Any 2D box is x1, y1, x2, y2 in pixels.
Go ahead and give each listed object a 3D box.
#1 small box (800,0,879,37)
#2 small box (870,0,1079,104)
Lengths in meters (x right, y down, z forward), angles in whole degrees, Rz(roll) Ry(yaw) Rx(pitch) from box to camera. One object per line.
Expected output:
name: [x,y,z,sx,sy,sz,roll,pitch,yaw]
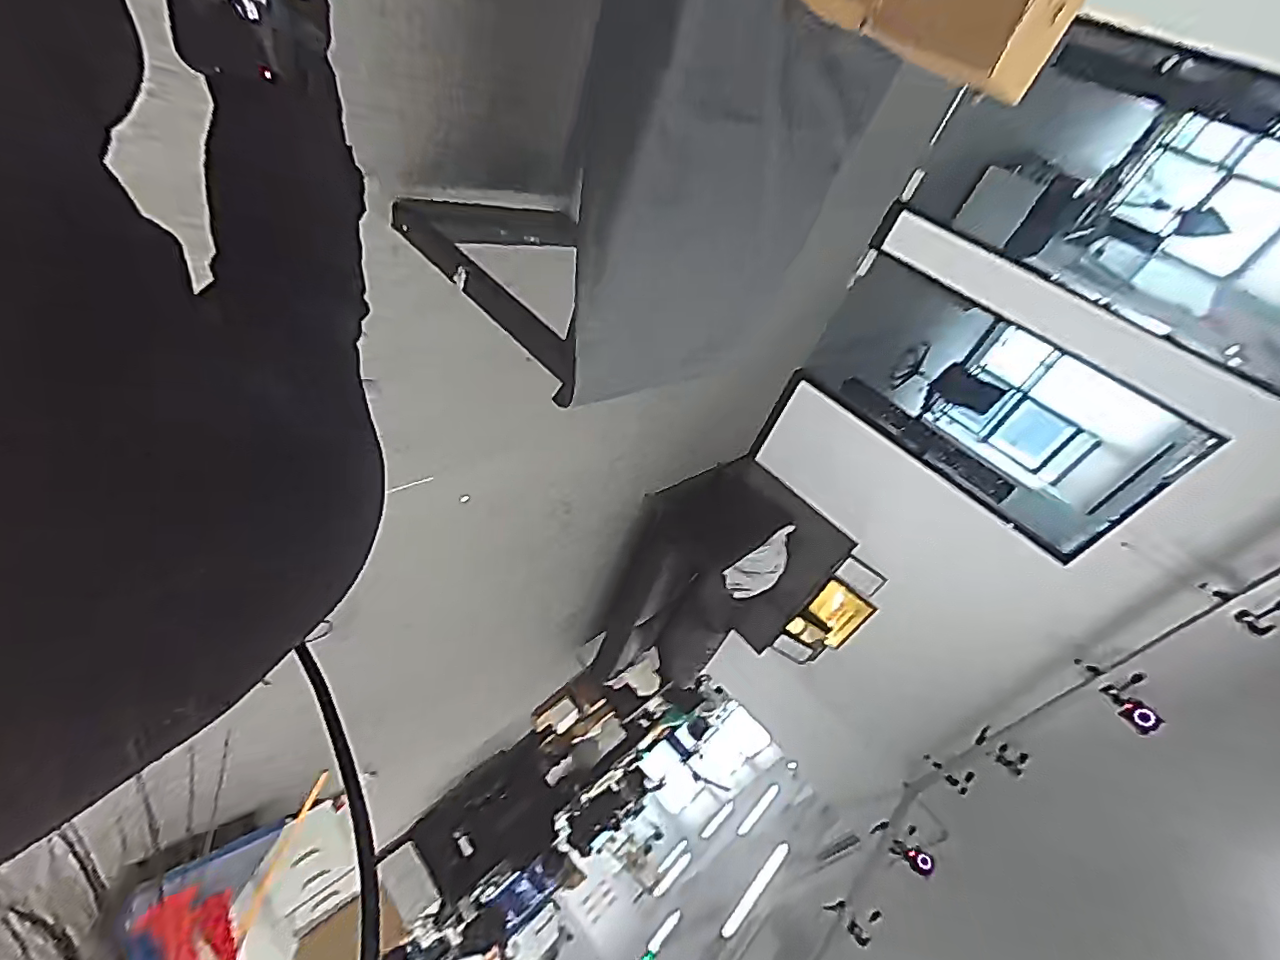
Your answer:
small box: [0.312,-0.712,0.712,0.179,0.176,0.168,-21,147,-46]
small box: [0.422,-0.599,0.663,0.179,0.176,0.168,-23,147,-43]
